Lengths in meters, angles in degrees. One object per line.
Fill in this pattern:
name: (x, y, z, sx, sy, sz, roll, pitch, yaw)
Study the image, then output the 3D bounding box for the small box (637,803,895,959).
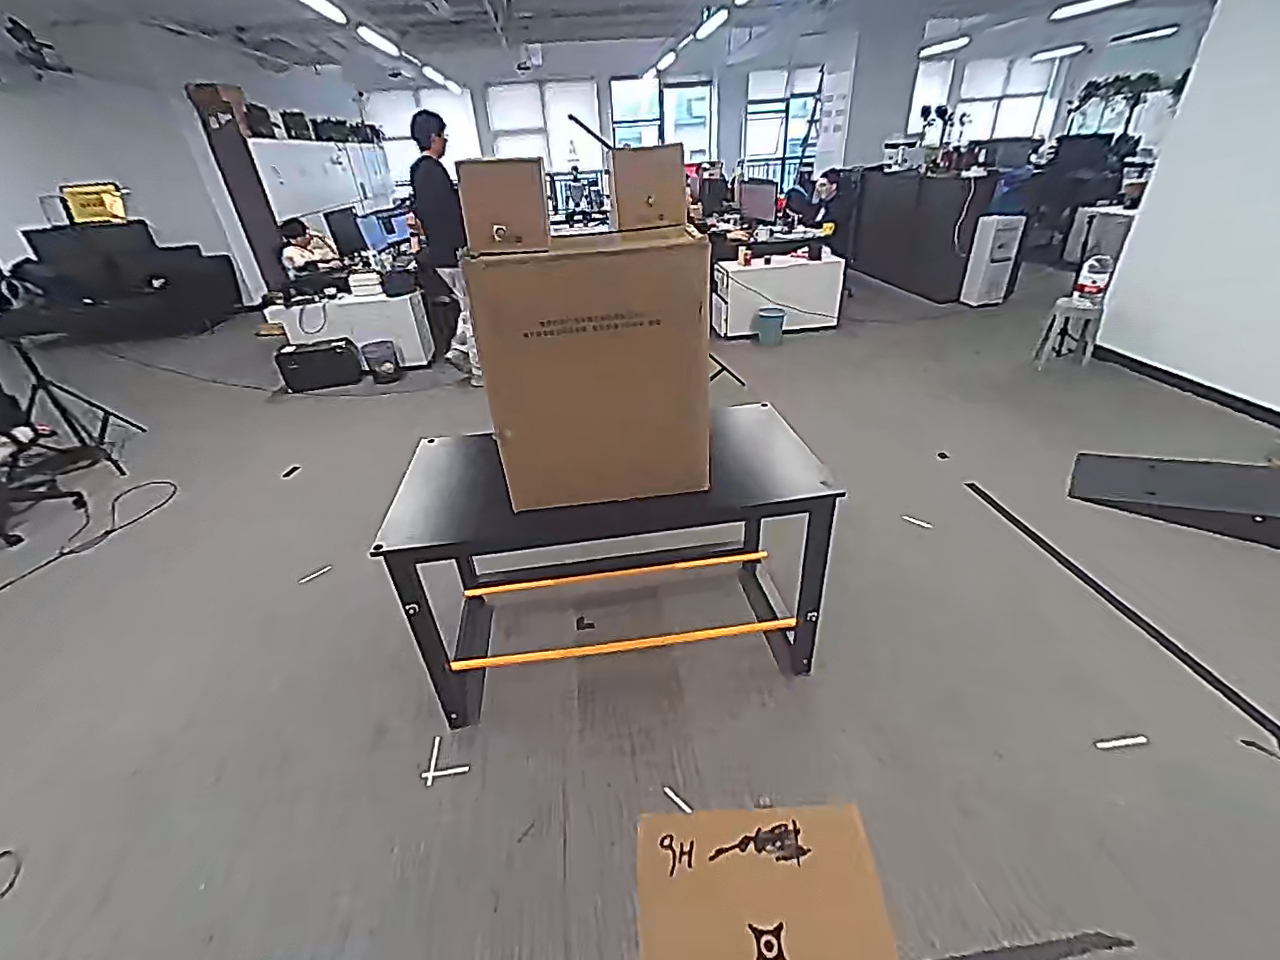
small box: (0.085, 0.364, 0.403, 0.168, 0.176, 0.179, -3, 44, 0)

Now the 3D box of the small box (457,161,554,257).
small box: (-0.275, -0.572, 1.138, 0.168, 0.176, 0.179, -6, 33, -5)

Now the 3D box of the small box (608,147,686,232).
small box: (0.015, -0.705, 1.320, 0.168, 0.176, 0.179, -8, 29, -4)
